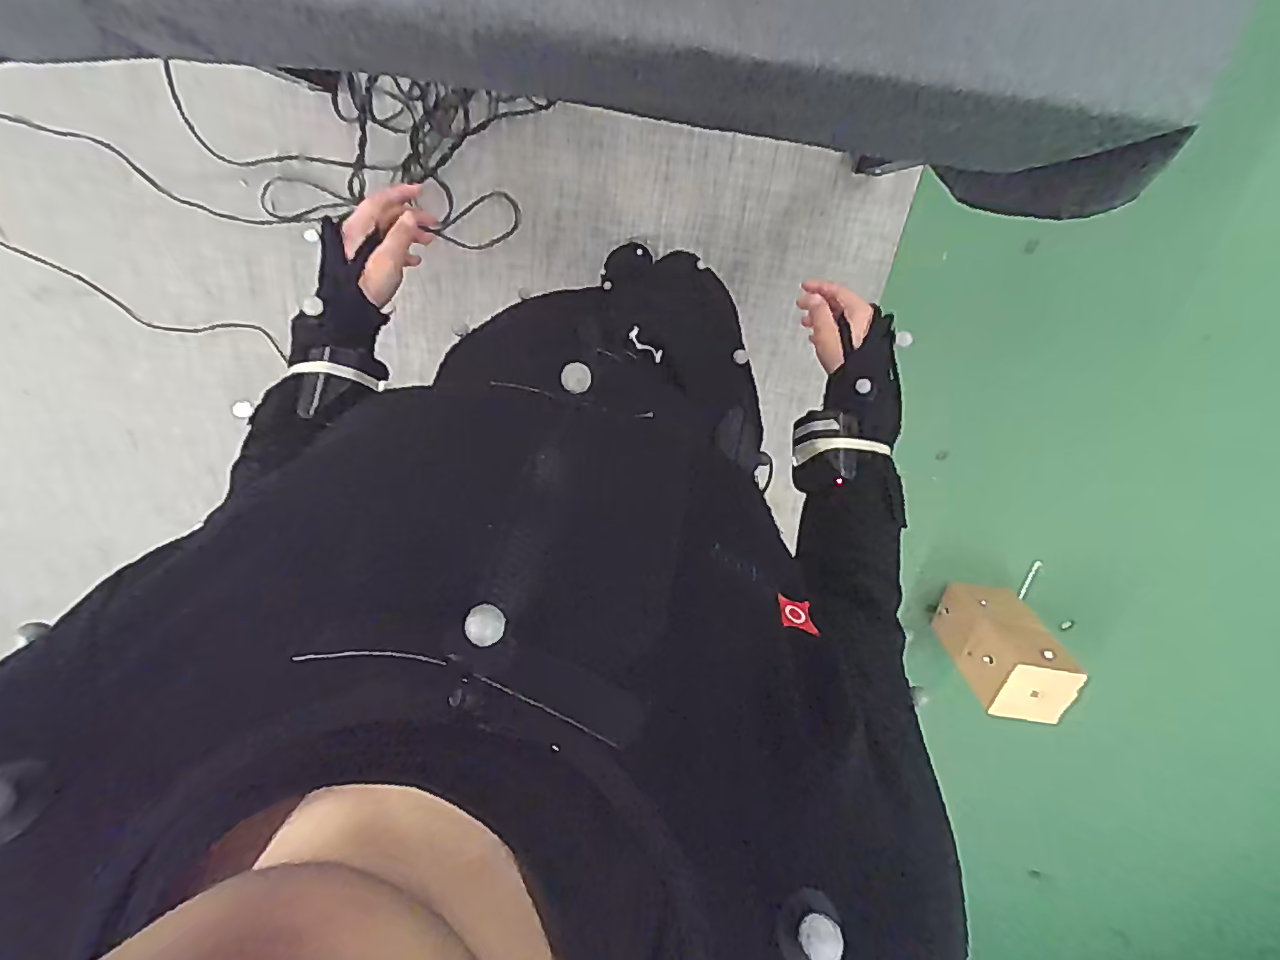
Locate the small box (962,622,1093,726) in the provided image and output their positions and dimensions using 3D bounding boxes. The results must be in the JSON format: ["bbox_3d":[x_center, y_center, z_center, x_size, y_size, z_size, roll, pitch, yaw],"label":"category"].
[{"bbox_3d":[0.948,0.477,1.346,0.179,0.176,0.168,9,115,-2],"label":"small box"}]
